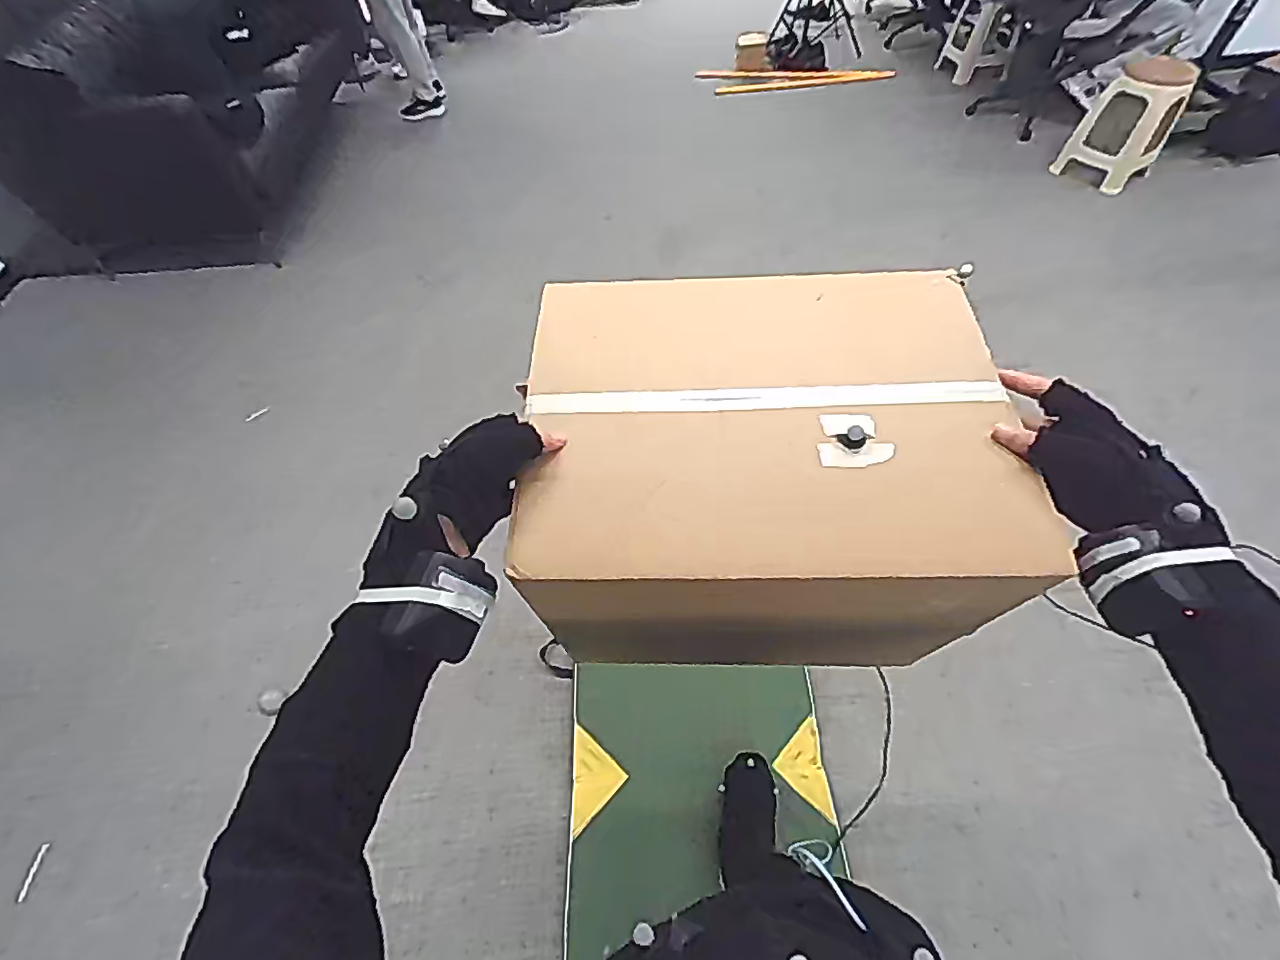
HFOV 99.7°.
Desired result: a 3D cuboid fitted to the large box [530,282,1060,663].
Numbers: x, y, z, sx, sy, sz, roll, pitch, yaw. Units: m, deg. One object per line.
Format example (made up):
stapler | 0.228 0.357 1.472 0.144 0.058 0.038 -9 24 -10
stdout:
large box | 0.116 0.011 0.604 0.408 0.320 0.320 -1 60 2
